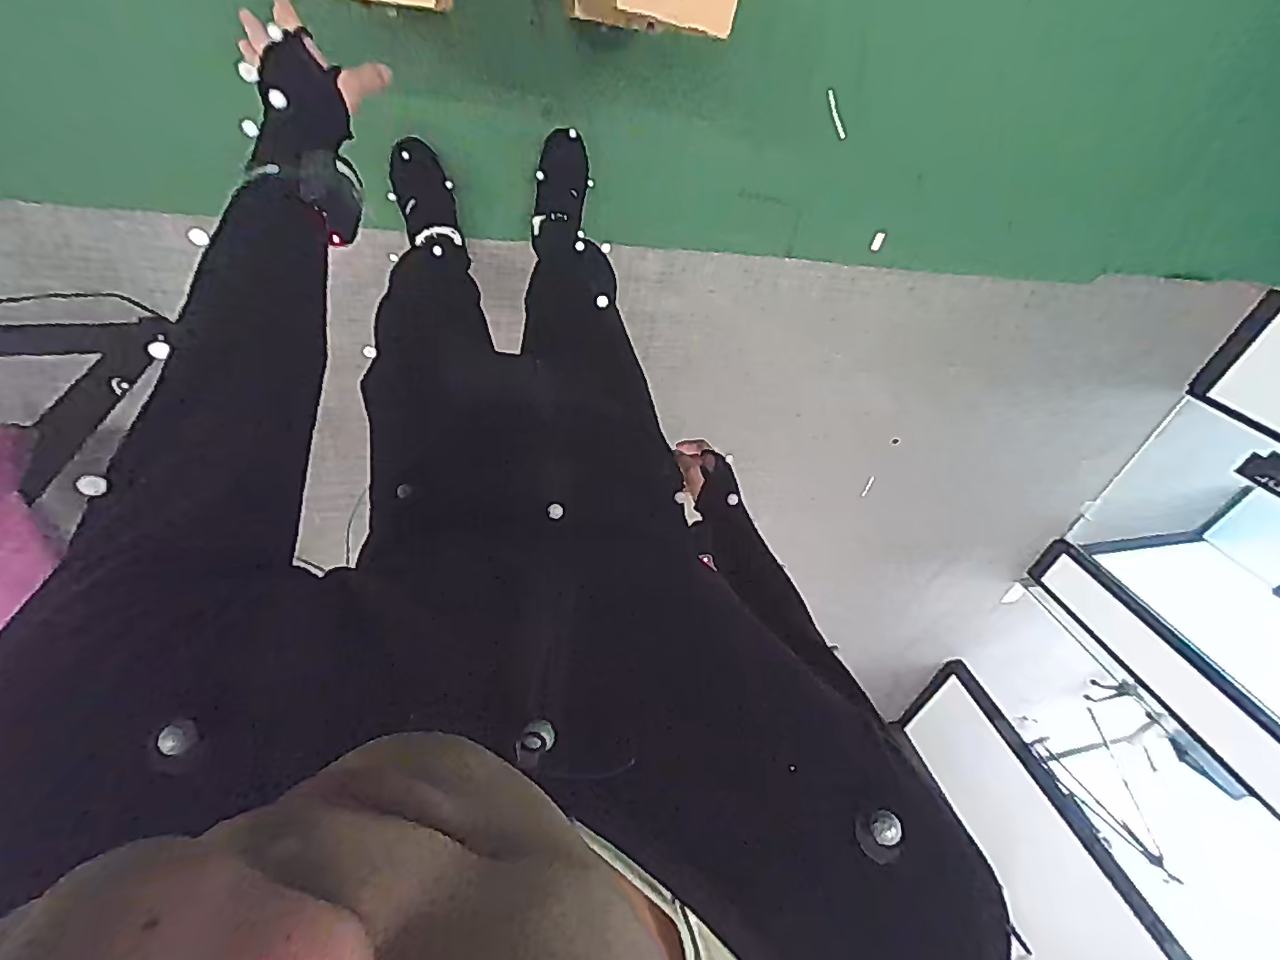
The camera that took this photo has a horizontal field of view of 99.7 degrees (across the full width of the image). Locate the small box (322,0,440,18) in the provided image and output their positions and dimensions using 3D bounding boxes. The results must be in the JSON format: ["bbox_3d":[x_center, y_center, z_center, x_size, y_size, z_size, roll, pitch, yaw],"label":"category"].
[{"bbox_3d":[-0.339,-0.685,0.652,0.168,0.176,0.179,-3,130,-14],"label":"small box"}]

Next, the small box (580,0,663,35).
[{"bbox_3d":[0.004,-0.834,0.855,0.168,0.176,0.179,0,129,-18],"label":"small box"}]

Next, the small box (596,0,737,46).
[{"bbox_3d":[0.041,-0.725,0.736,0.168,0.176,0.179,0,130,-19],"label":"small box"}]

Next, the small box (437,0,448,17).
[{"bbox_3d":[-0.370,-0.789,0.773,0.168,0.176,0.179,-4,131,-14],"label":"small box"}]

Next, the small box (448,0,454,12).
[{"bbox_3d":[-0.400,-0.899,0.892,0.168,0.176,0.179,-2,129,-16],"label":"small box"}]
